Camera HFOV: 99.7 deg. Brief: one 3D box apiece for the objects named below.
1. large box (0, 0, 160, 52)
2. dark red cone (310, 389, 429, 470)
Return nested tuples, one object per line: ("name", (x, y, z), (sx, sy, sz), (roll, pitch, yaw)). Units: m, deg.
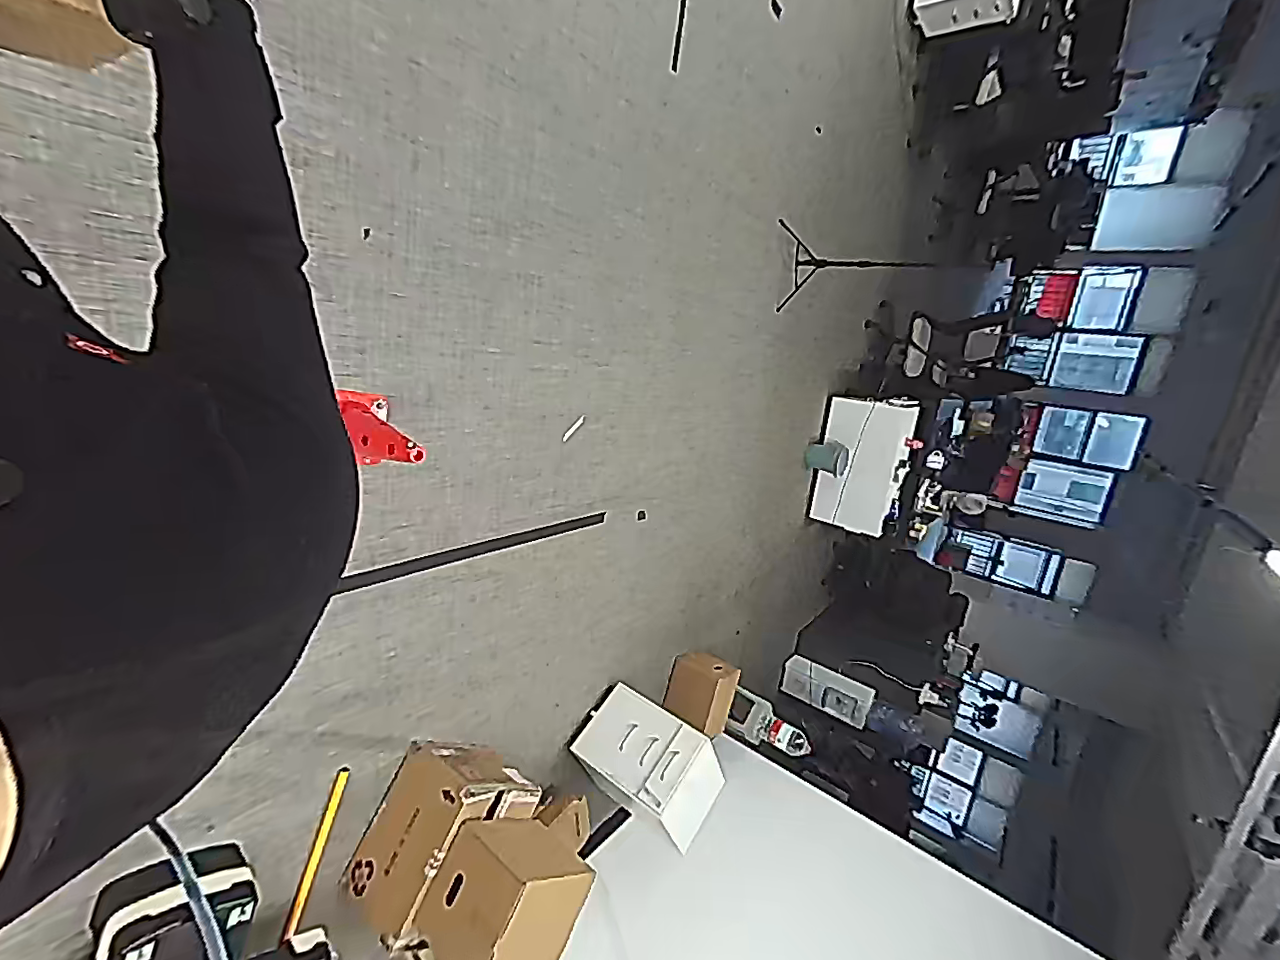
("large box", (-0.551, -0.486, 0.262), (0.408, 0.320, 0.320), (-13, 122, -51))
("dark red cone", (-0.639, -0.093, 1.335), (0.201, 0.394, 0.202), (-1, 104, -52))
